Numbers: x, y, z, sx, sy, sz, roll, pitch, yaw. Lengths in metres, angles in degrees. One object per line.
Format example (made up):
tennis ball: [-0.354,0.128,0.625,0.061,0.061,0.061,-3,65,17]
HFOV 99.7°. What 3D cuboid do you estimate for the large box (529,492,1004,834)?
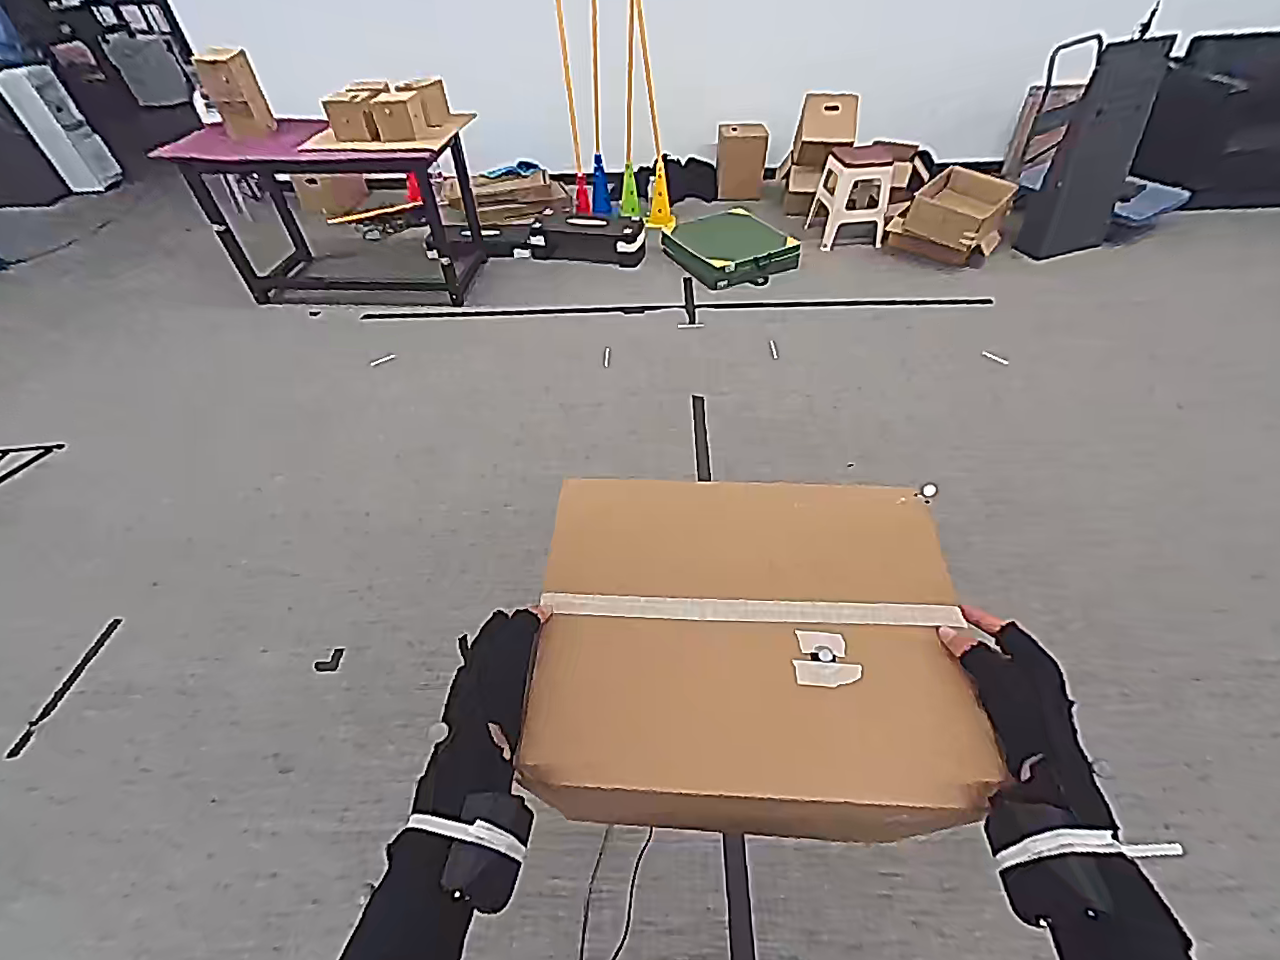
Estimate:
large box: [0.112,0.228,0.657,0.408,0.320,0.320,1,54,4]
